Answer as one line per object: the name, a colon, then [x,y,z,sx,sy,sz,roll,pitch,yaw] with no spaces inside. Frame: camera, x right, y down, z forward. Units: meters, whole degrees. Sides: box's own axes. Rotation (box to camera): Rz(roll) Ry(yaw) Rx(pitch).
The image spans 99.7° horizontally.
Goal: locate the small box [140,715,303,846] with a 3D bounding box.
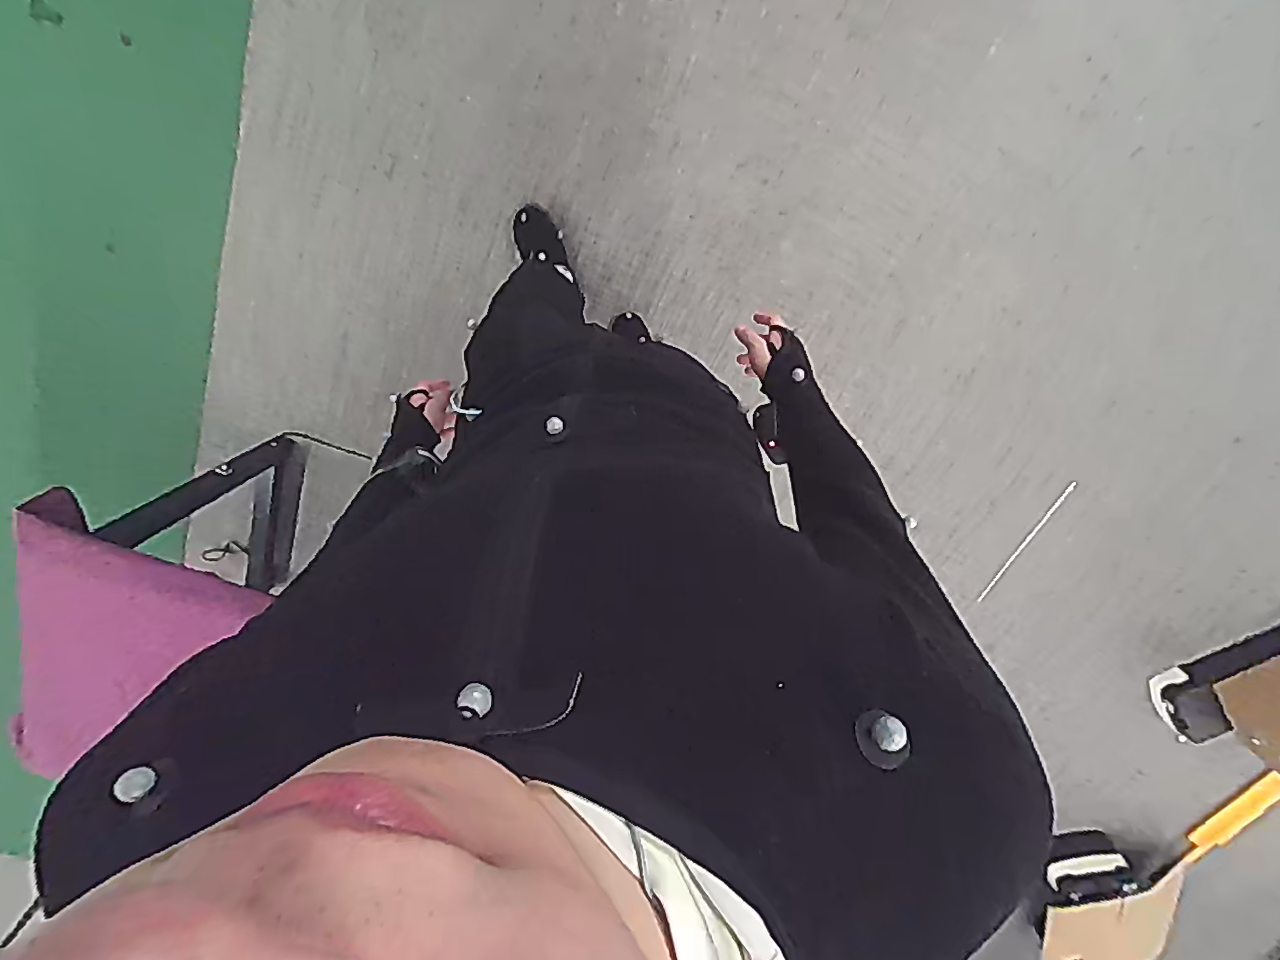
small box: [-0.825,0.595,1.087,0.168,0.176,0.179,-3,114,2]
